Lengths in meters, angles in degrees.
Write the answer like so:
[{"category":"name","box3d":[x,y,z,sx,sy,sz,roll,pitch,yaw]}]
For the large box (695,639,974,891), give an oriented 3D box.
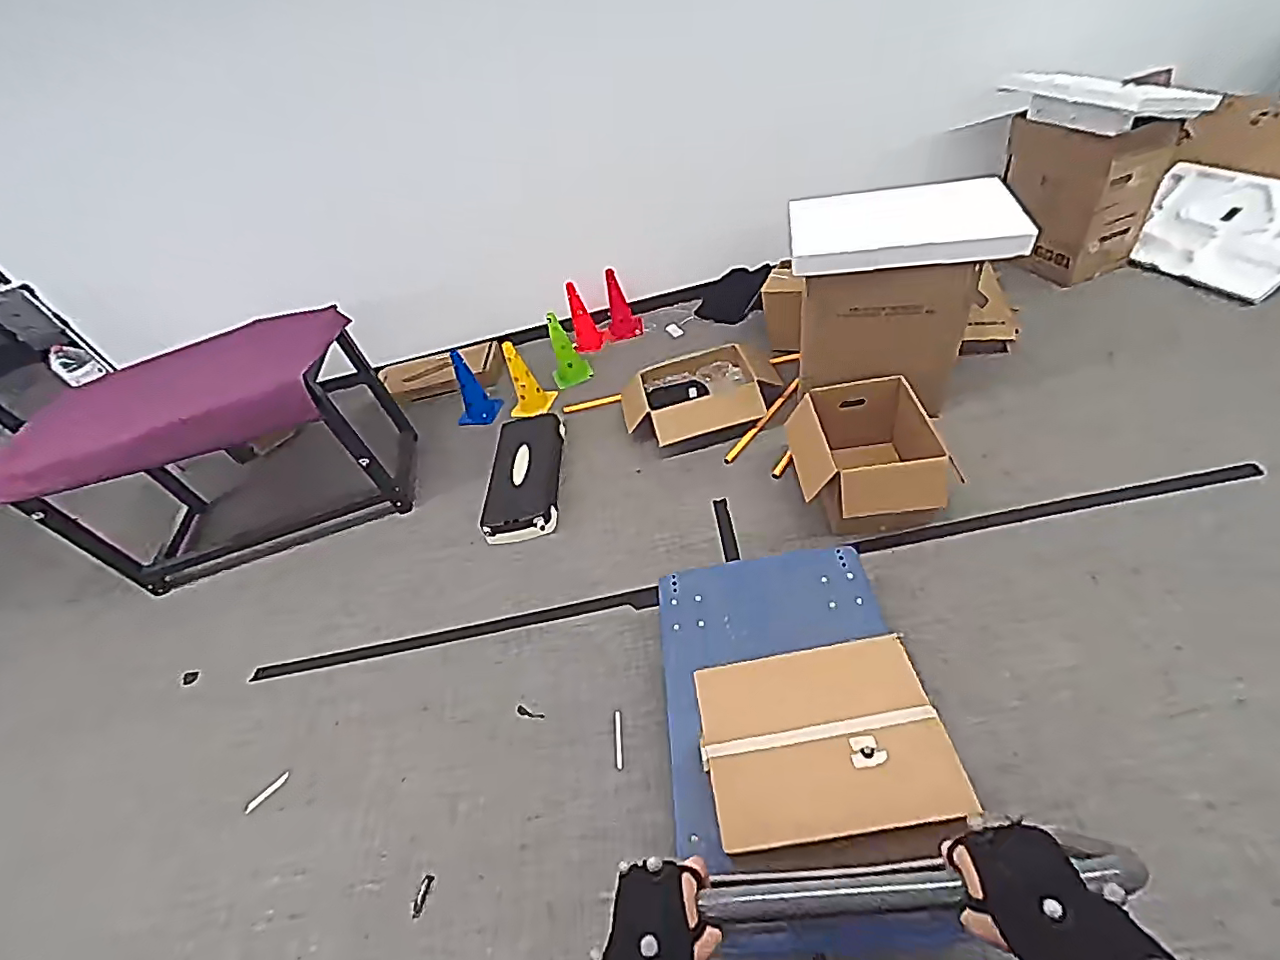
[{"category":"large box","box3d":[0.345,0.563,1.064,0.408,0.320,0.320,-12,44,4]}]
